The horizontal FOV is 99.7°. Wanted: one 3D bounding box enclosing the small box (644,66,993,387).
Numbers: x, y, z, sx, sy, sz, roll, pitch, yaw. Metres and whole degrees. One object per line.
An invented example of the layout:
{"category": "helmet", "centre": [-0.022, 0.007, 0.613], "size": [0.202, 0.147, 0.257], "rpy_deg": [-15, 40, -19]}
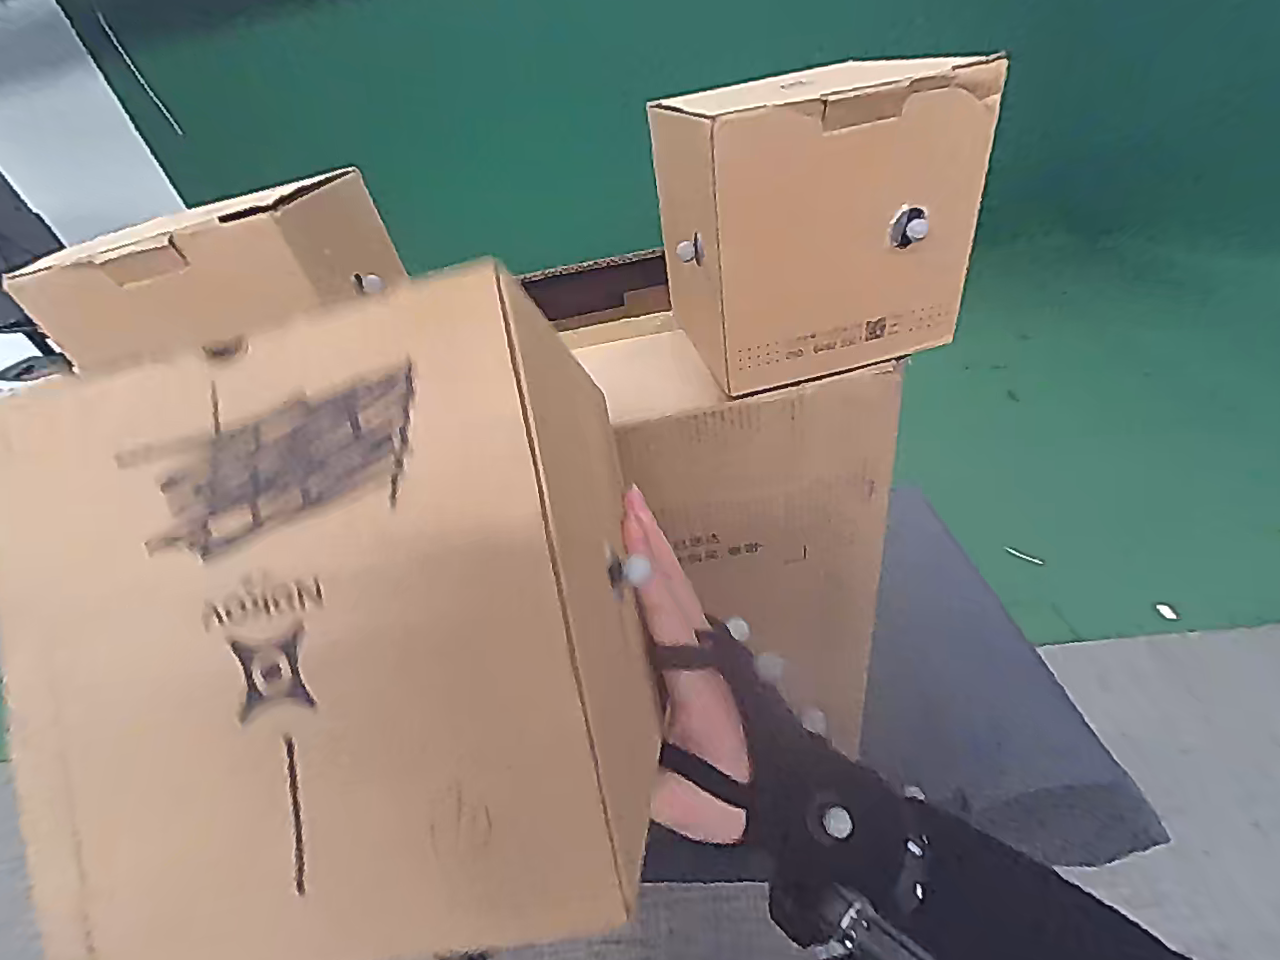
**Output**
{"category": "small box", "centre": [0.109, -0.181, 0.397], "size": [0.168, 0.176, 0.179], "rpy_deg": [-13, 36, -4]}

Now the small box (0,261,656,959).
{"category": "small box", "centre": [-0.094, 0.046, 0.224], "size": [0.168, 0.179, 0.176], "rpy_deg": [-13, -5, 5]}

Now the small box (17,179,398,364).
{"category": "small box", "centre": [-0.281, -0.112, 0.428], "size": [0.168, 0.176, 0.179], "rpy_deg": [-14, 37, 1]}
